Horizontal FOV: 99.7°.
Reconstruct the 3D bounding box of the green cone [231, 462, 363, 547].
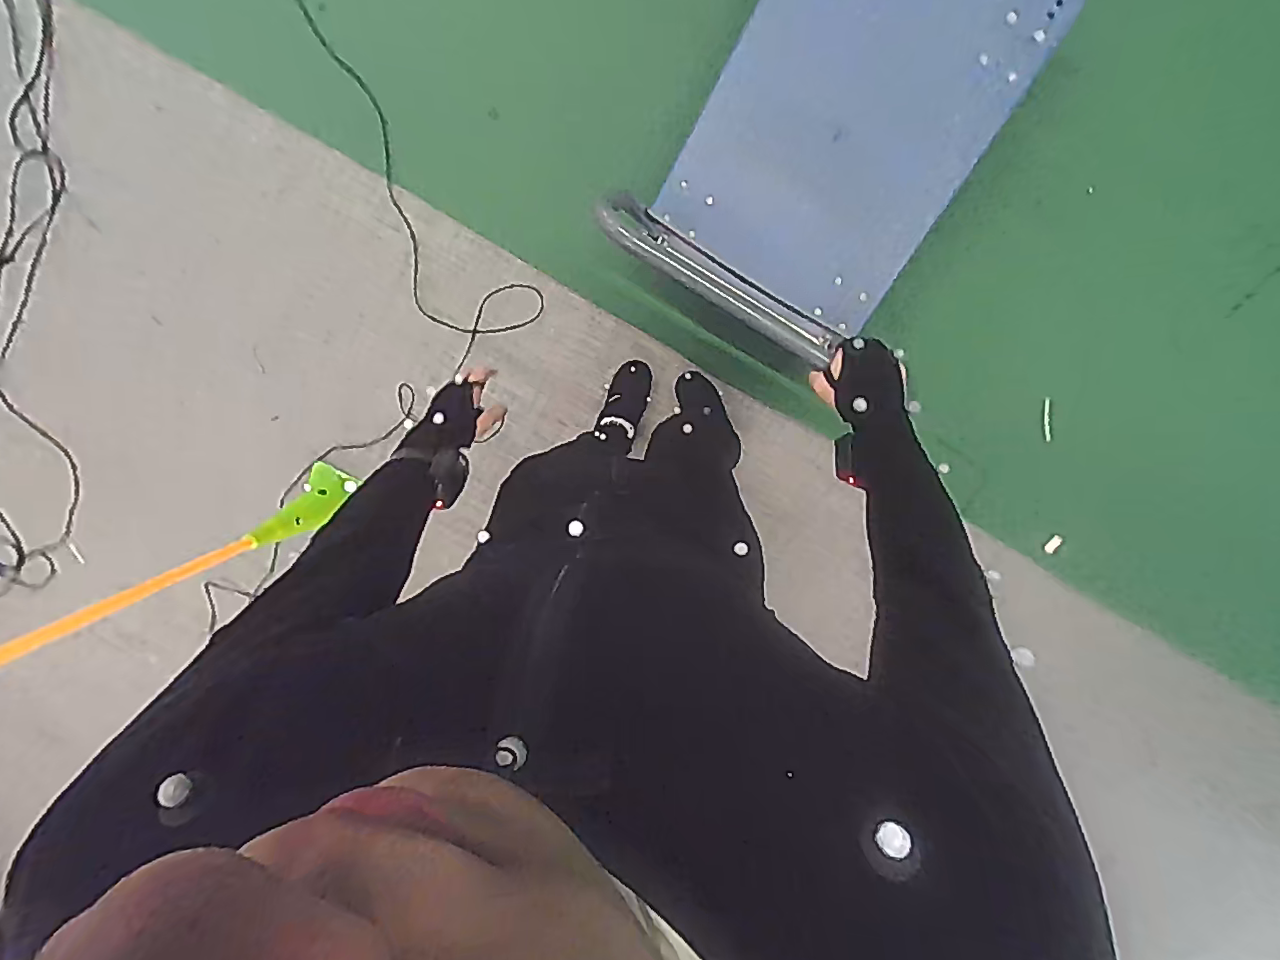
[{"bbox_3d":[-1.024,0.108,1.582,0.202,0.368,0.200,27,107,-1],"label":"green cone"}]
